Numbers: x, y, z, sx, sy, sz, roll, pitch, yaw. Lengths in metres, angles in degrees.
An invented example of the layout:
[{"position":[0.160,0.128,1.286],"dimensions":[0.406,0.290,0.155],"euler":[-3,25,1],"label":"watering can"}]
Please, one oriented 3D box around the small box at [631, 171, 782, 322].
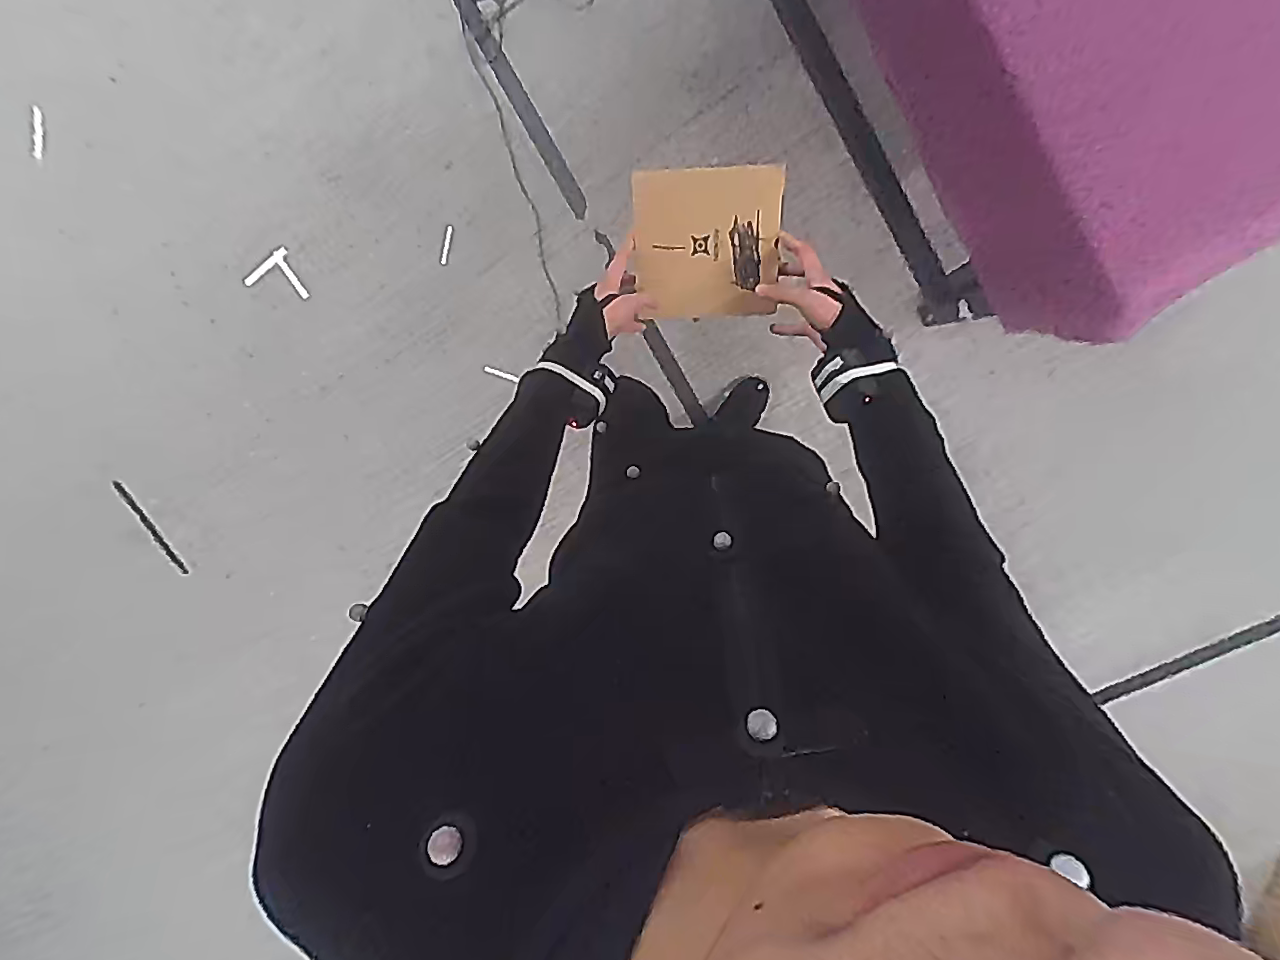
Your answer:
[{"position":[0.080,-0.309,0.720],"dimensions":[0.179,0.176,0.168],"euler":[-1,114,3],"label":"small box"}]
